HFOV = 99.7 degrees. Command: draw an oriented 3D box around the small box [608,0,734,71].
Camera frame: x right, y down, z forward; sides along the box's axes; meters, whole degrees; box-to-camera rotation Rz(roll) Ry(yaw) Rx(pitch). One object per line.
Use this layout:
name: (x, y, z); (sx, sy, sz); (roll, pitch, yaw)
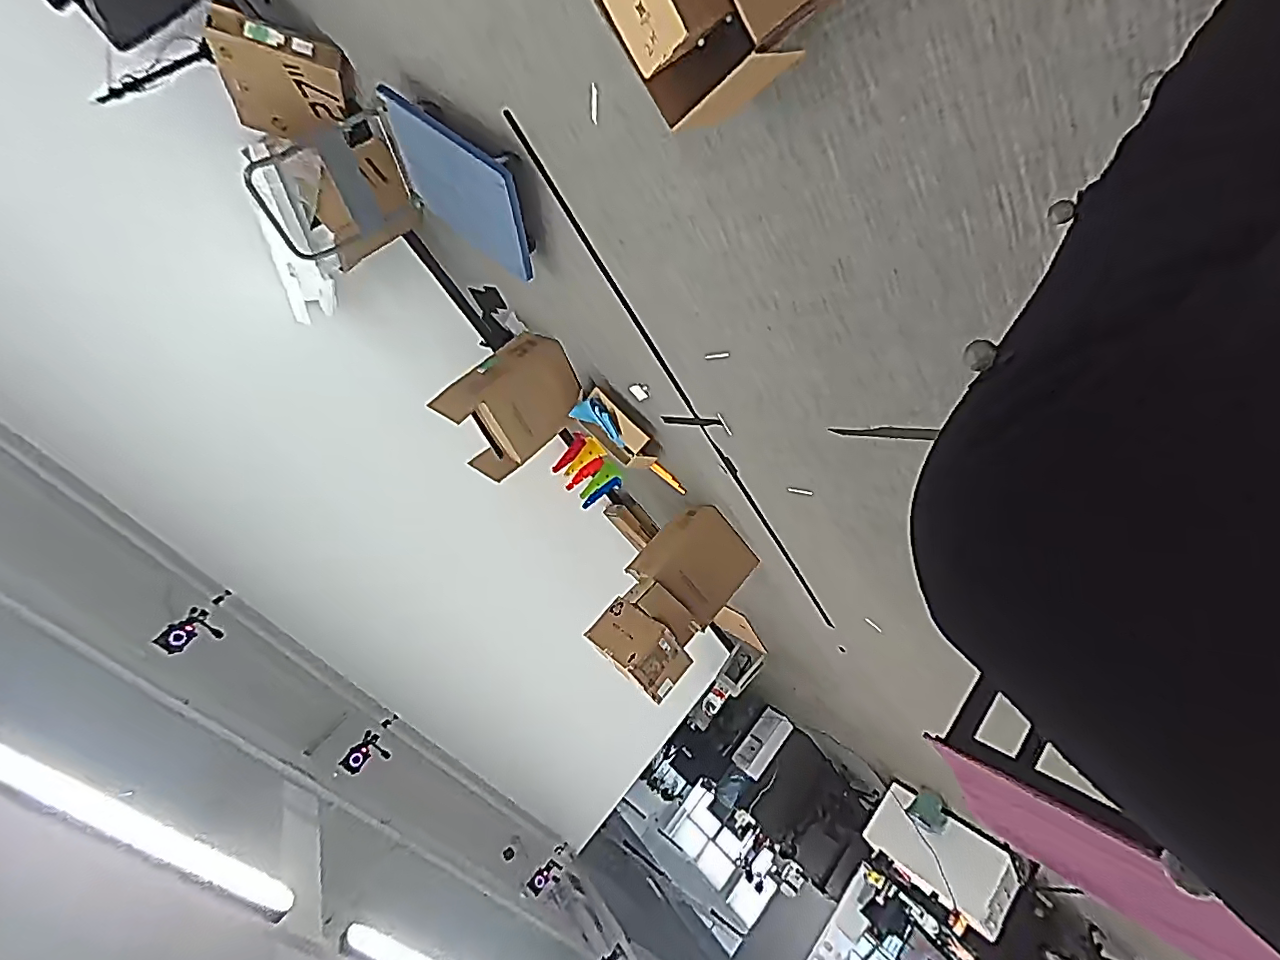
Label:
small box: (0.061, -1.000, 1.103); (0.179, 0.176, 0.168); (52, 161, -24)
